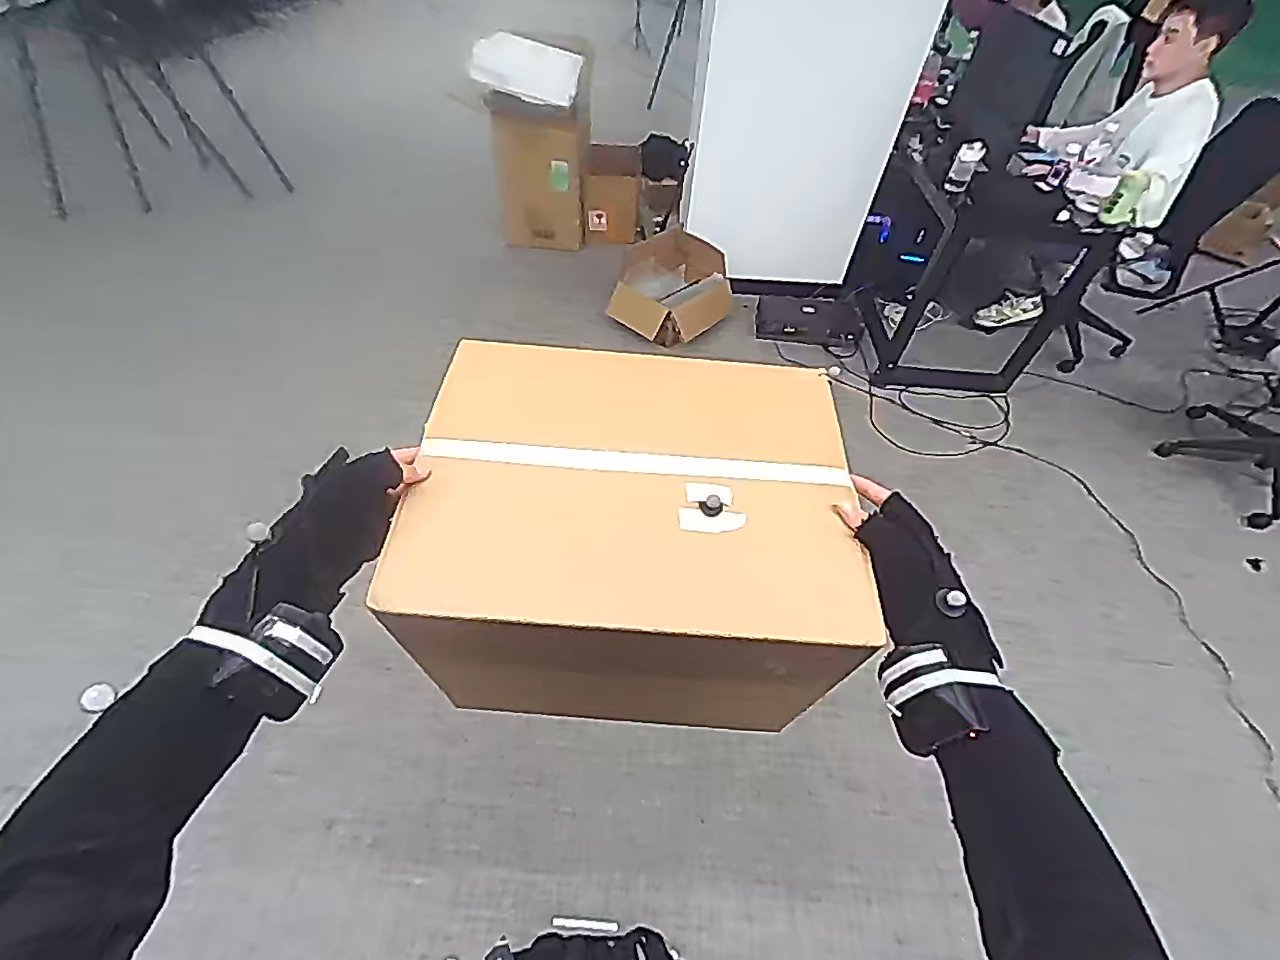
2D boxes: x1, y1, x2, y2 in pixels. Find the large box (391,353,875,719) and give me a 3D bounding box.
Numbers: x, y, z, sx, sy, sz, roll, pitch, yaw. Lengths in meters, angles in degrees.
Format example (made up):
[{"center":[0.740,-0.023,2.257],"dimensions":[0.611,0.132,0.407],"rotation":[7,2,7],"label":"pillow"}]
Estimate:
[{"center":[-0.009,0.079,0.642],"dimensions":[0.408,0.320,0.320],"rotation":[5,54,-2],"label":"large box"}]
